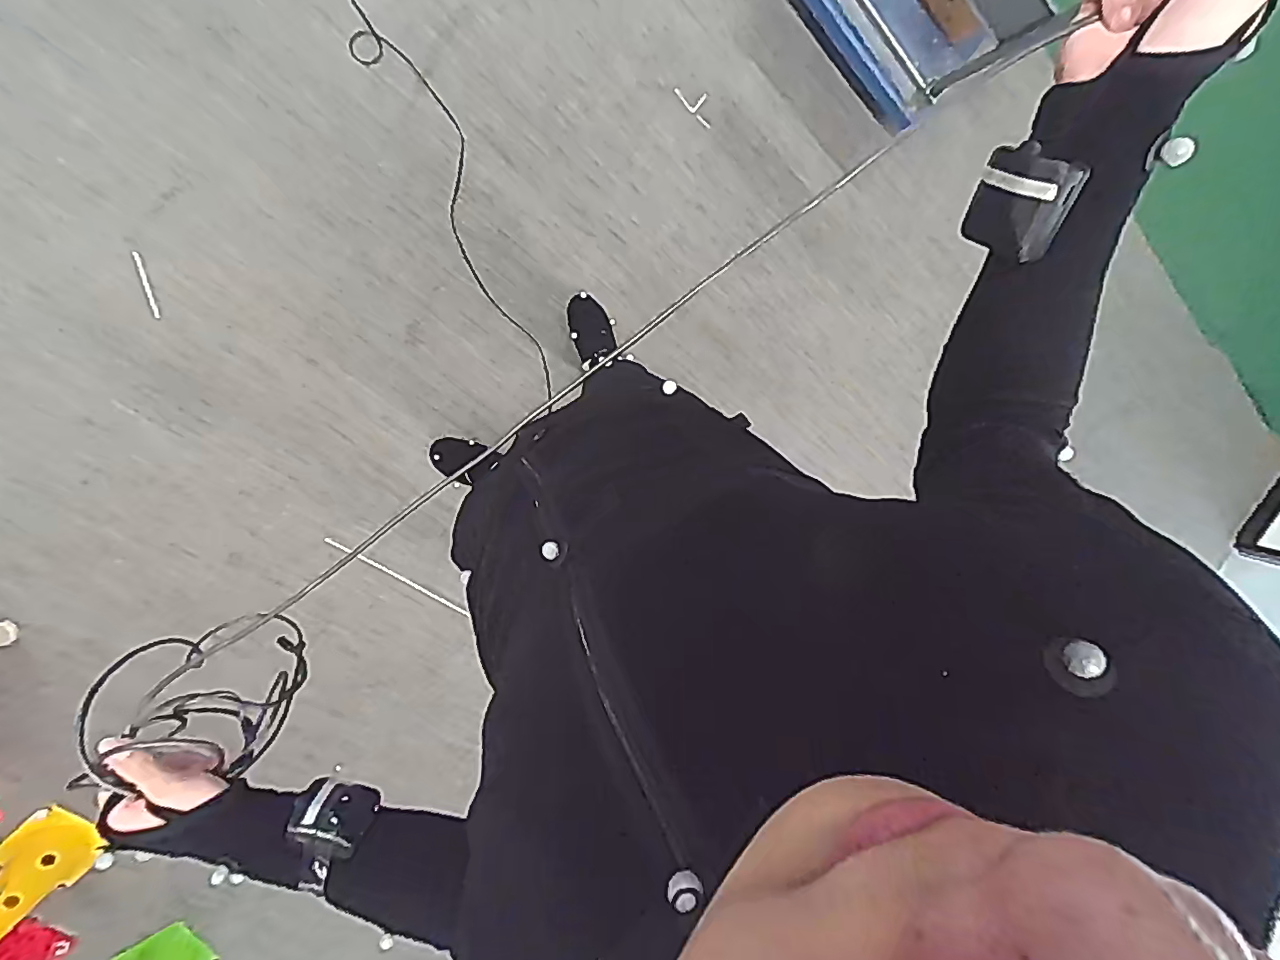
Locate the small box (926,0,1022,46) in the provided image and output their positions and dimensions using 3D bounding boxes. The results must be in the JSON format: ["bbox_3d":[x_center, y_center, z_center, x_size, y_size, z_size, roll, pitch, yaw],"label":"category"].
[{"bbox_3d":[0.862,-1.251,1.345,0.168,0.176,0.179,38,91,-20],"label":"small box"}]
